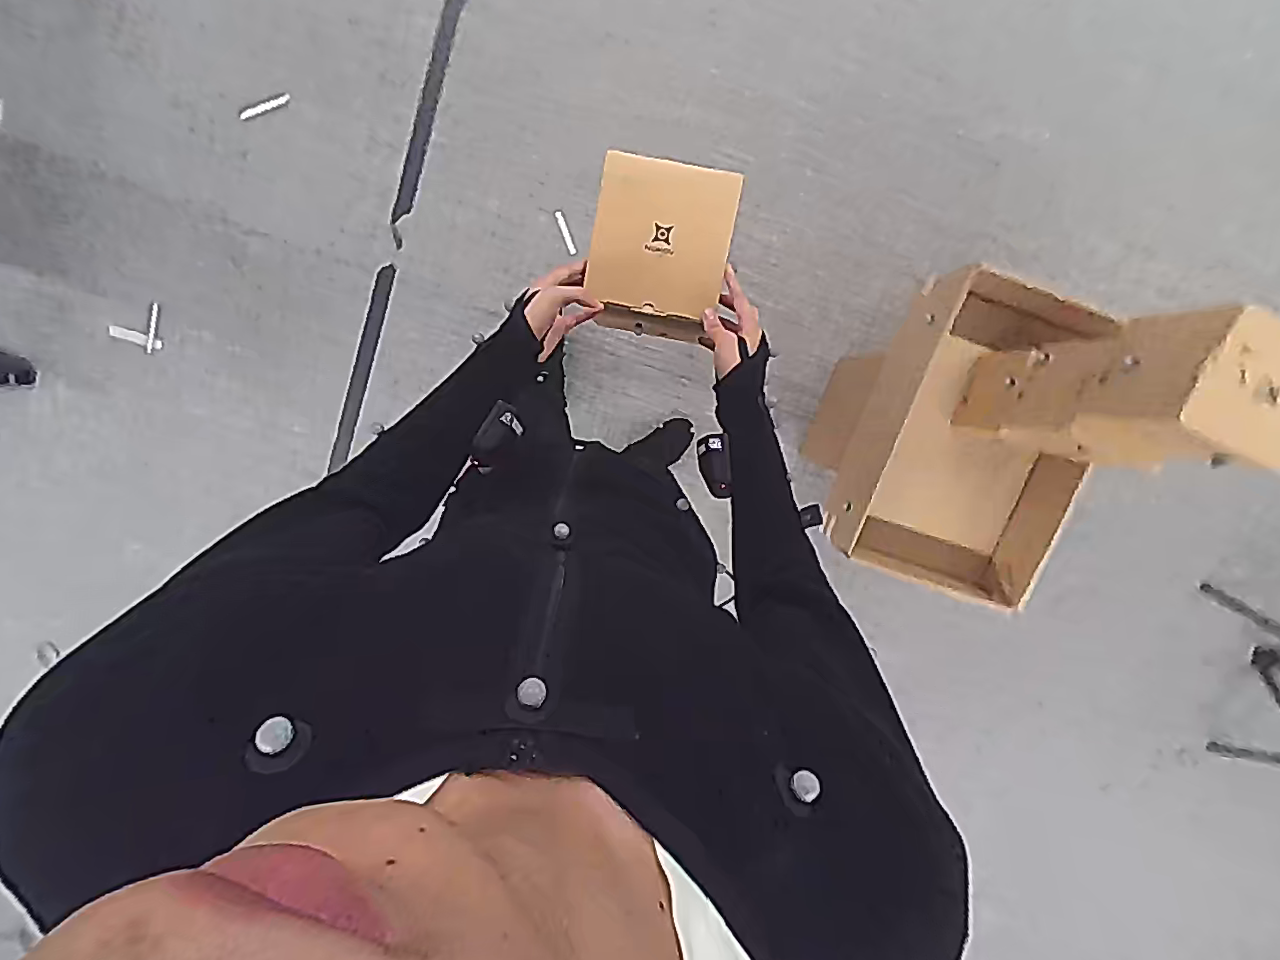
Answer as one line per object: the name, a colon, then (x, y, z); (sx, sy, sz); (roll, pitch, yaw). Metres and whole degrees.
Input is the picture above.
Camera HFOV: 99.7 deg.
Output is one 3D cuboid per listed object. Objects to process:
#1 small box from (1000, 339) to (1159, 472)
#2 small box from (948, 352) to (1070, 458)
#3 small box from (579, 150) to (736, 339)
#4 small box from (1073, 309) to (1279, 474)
small box: (0.790, -0.132, 0.951); (0.179, 0.176, 0.168); (23, 100, -5)
small box: (0.786, -0.159, 1.114); (0.179, 0.176, 0.168); (16, 100, -4)
small box: (0.020, -0.299, 0.724); (0.168, 0.176, 0.179); (9, 97, 0)
small box: (0.801, -0.129, 0.785); (0.179, 0.176, 0.168); (24, 100, -4)
